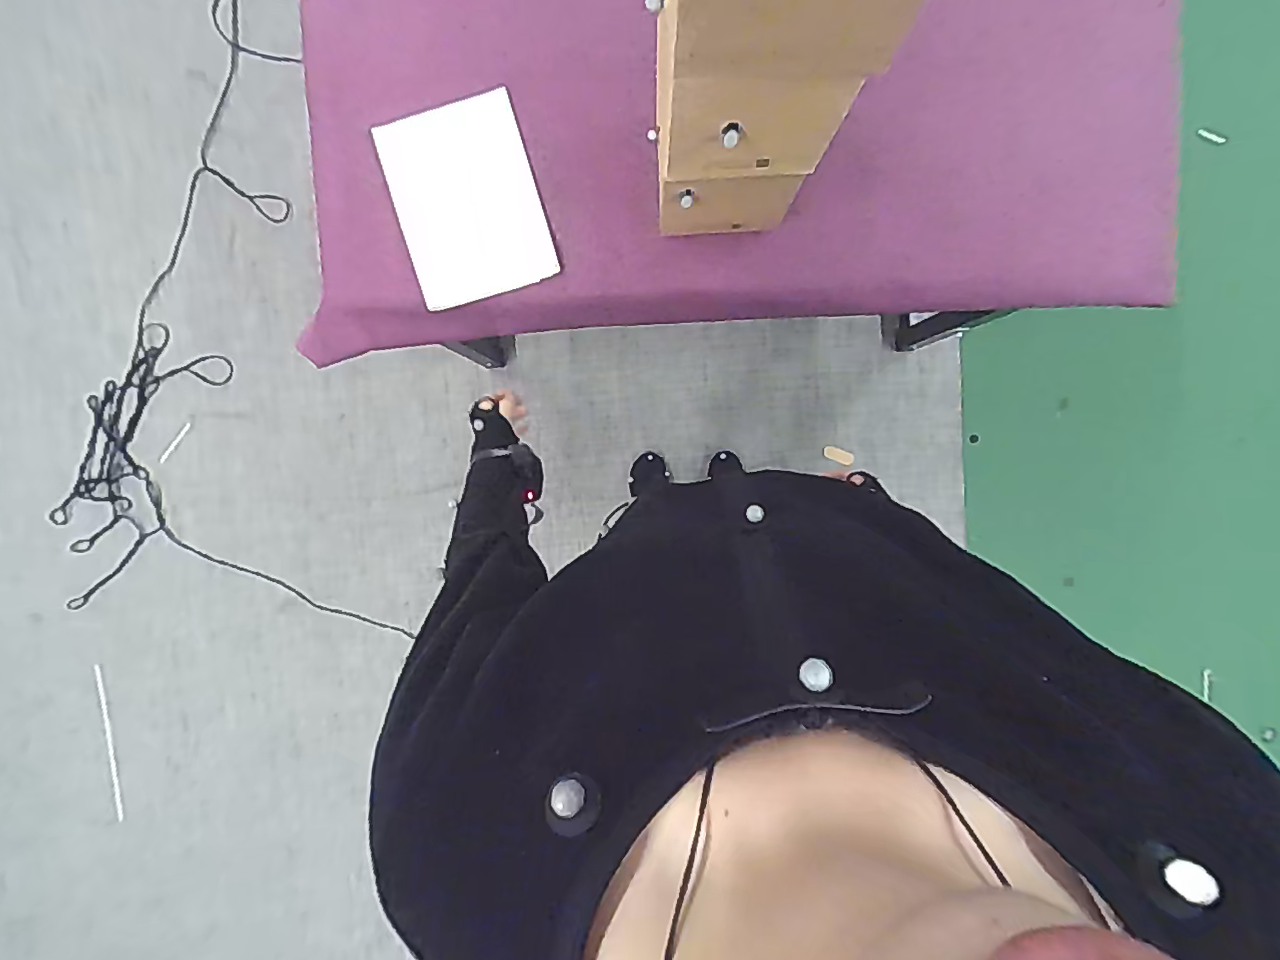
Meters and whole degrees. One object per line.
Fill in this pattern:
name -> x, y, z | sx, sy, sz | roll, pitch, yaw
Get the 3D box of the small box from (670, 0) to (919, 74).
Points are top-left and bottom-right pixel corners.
small box -> 0.112, -0.406, 0.354 | 0.179, 0.176, 0.168 | 0, 91, 1

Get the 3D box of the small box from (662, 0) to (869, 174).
small box -> 0.106, -0.418, 0.519 | 0.168, 0.176, 0.179 | -2, 91, 1
